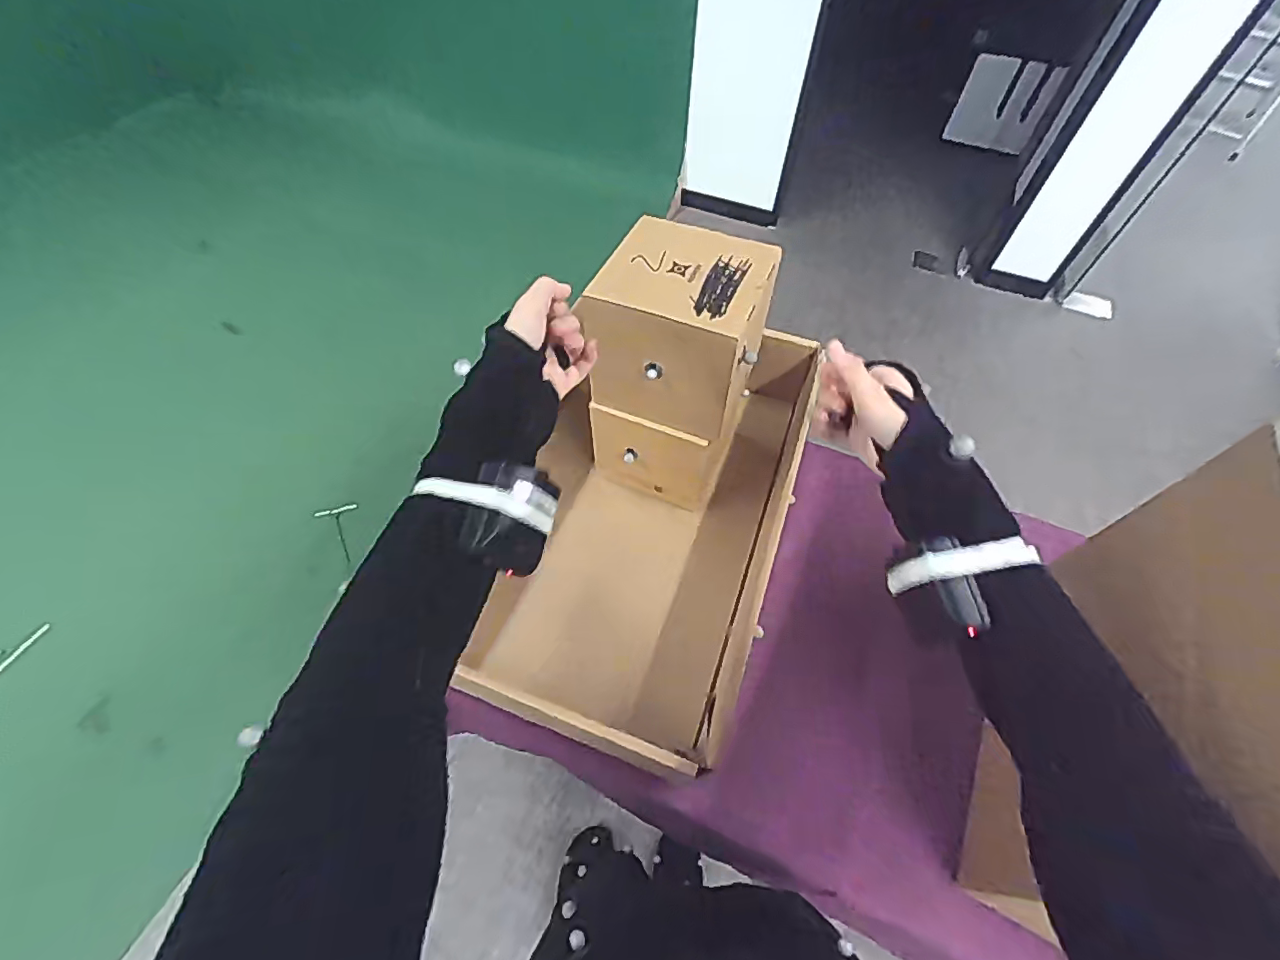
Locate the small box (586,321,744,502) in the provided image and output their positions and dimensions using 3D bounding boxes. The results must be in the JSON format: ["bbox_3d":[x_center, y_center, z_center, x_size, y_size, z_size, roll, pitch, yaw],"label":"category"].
[{"bbox_3d":[0.039,-0.094,0.790,0.168,0.176,0.179,20,59,13],"label":"small box"}]
